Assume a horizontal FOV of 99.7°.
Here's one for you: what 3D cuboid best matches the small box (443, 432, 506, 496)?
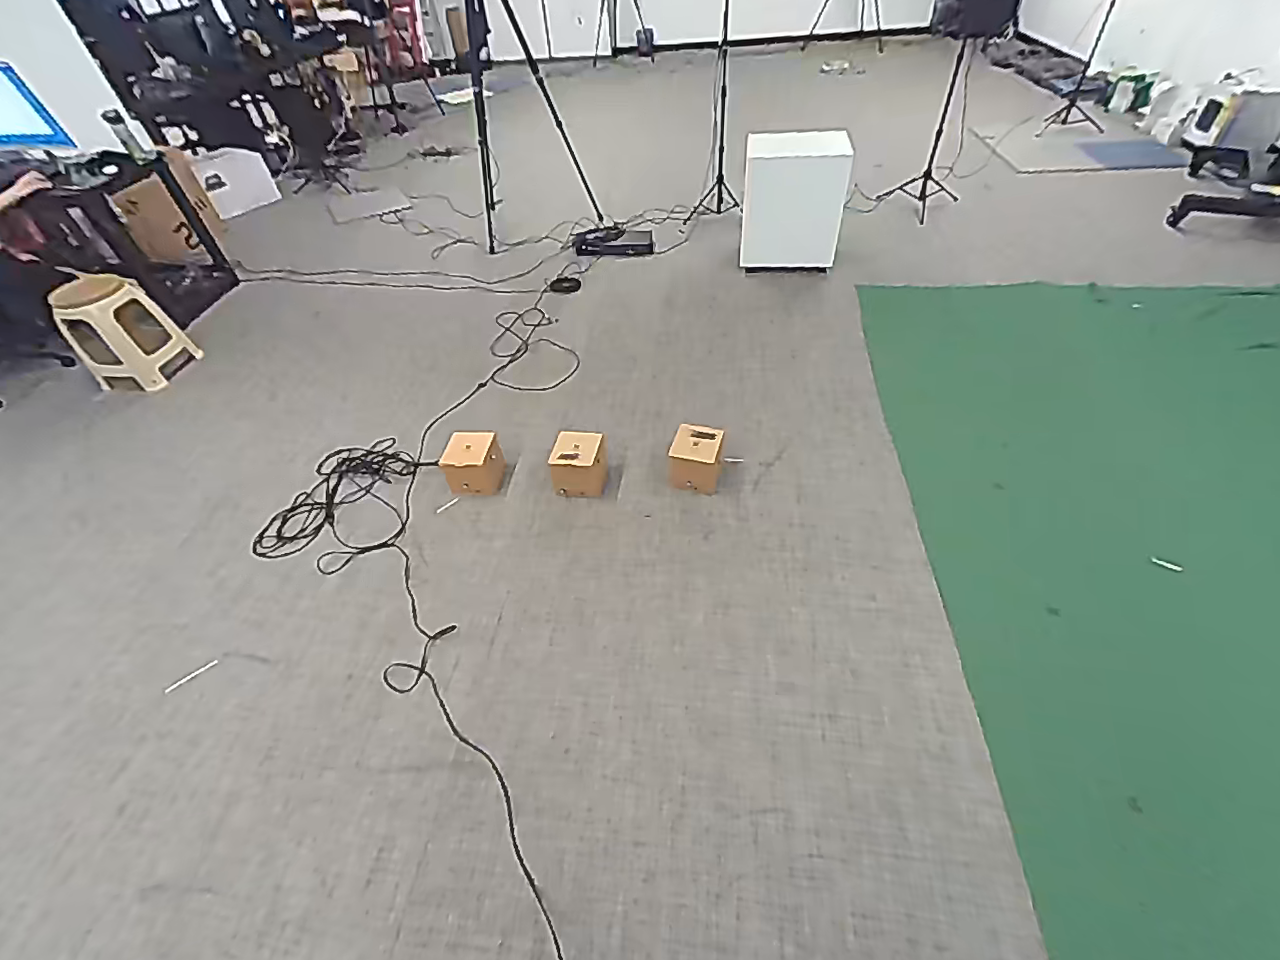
[{"bbox_3d":[-0.620,-0.062,2.054,0.168,0.176,0.179,1,47,7],"label":"small box"}]

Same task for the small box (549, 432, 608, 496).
[{"bbox_3d":[-0.220,-0.058,2.008,0.168,0.176,0.179,5,47,10],"label":"small box"}]
